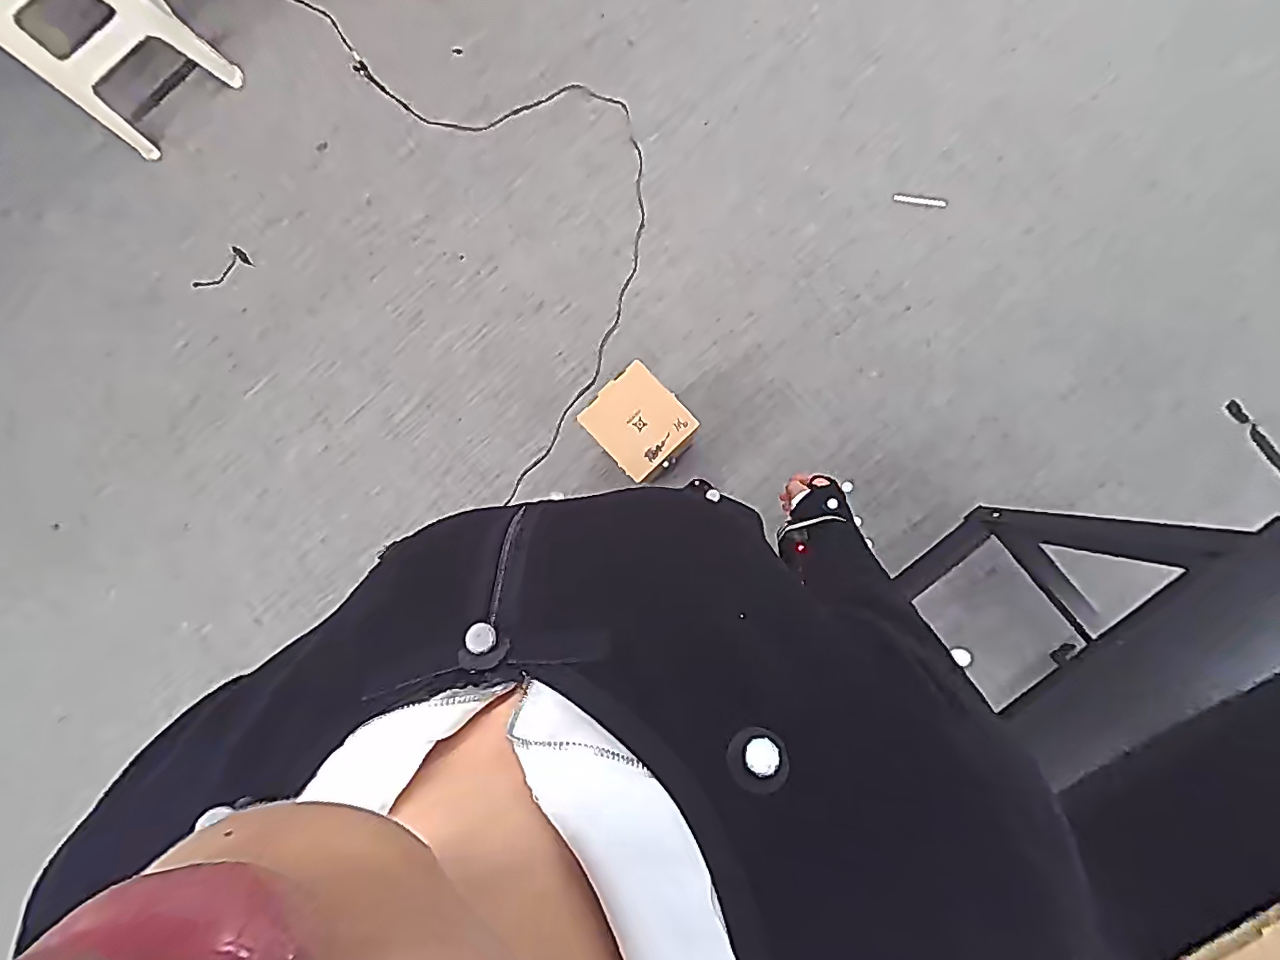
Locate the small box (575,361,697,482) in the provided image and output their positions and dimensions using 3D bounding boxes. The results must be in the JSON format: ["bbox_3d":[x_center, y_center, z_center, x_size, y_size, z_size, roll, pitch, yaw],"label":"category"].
[{"bbox_3d":[-0.004,-0.107,1.099,0.168,0.176,0.179,-44,87,2],"label":"small box"}]
